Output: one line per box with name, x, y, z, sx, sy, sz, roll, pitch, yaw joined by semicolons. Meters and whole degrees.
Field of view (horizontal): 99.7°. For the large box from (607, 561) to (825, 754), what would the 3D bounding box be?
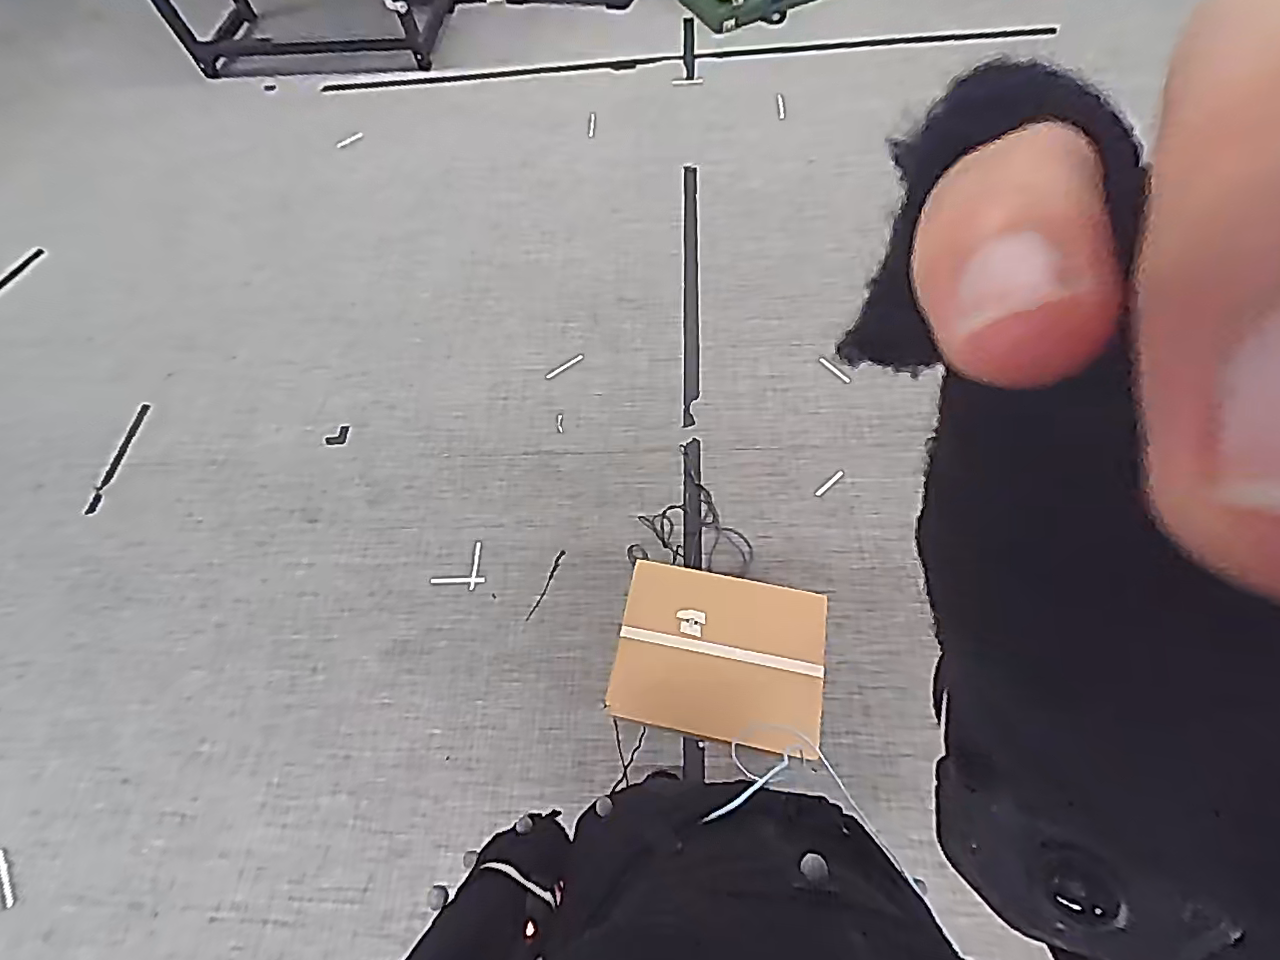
large box;0.169;0.403;1.210;0.408;0.320;0.320;10;64;8
